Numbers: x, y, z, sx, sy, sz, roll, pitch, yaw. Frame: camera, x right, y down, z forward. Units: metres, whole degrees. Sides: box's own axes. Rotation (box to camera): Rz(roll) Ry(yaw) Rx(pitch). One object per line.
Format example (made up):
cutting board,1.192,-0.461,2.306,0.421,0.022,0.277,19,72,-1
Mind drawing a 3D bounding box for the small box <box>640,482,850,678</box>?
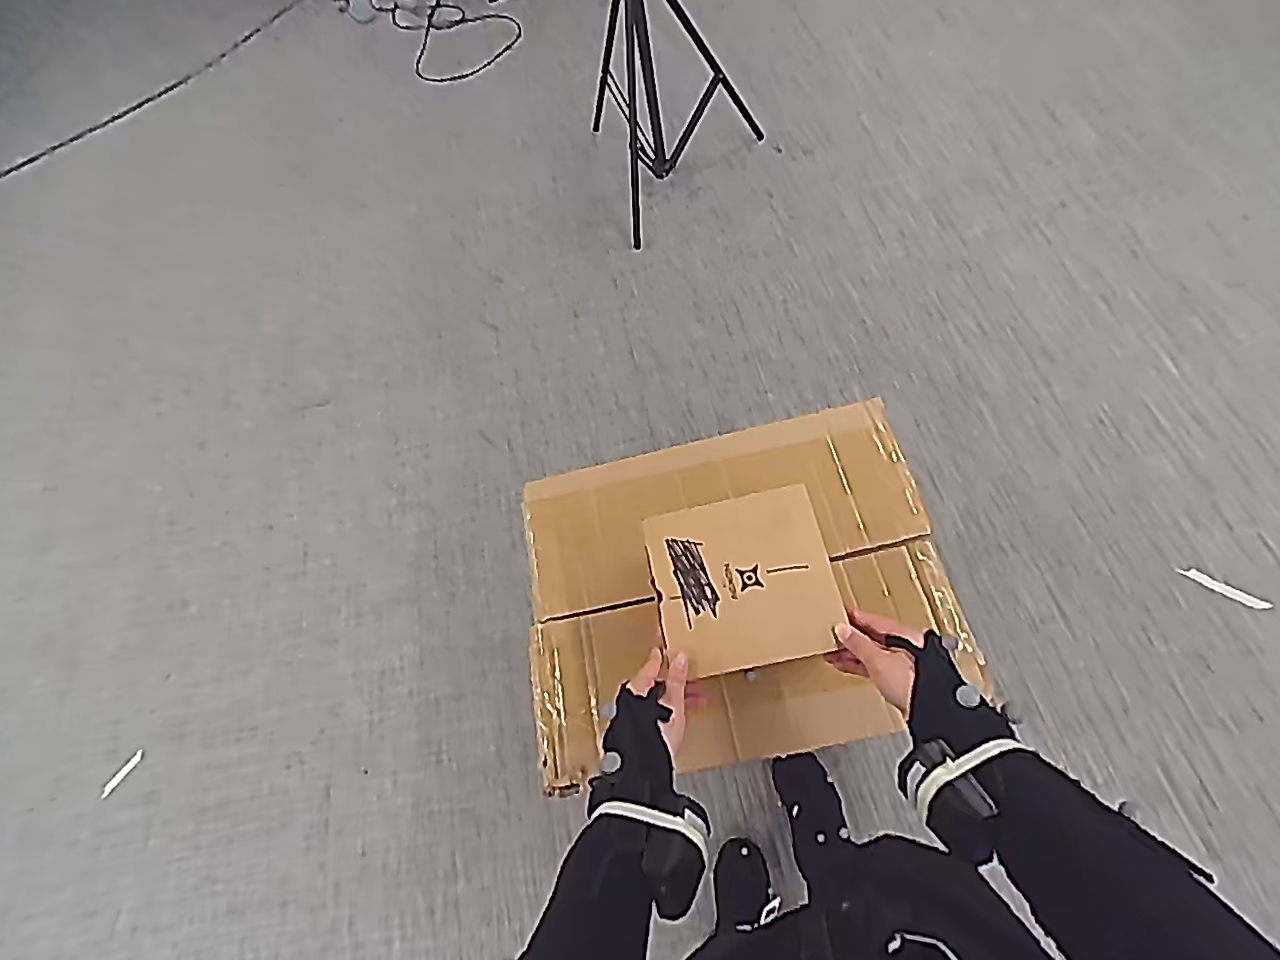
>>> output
small box,0.110,0.122,0.604,0.179,0.176,0.168,-13,69,5
